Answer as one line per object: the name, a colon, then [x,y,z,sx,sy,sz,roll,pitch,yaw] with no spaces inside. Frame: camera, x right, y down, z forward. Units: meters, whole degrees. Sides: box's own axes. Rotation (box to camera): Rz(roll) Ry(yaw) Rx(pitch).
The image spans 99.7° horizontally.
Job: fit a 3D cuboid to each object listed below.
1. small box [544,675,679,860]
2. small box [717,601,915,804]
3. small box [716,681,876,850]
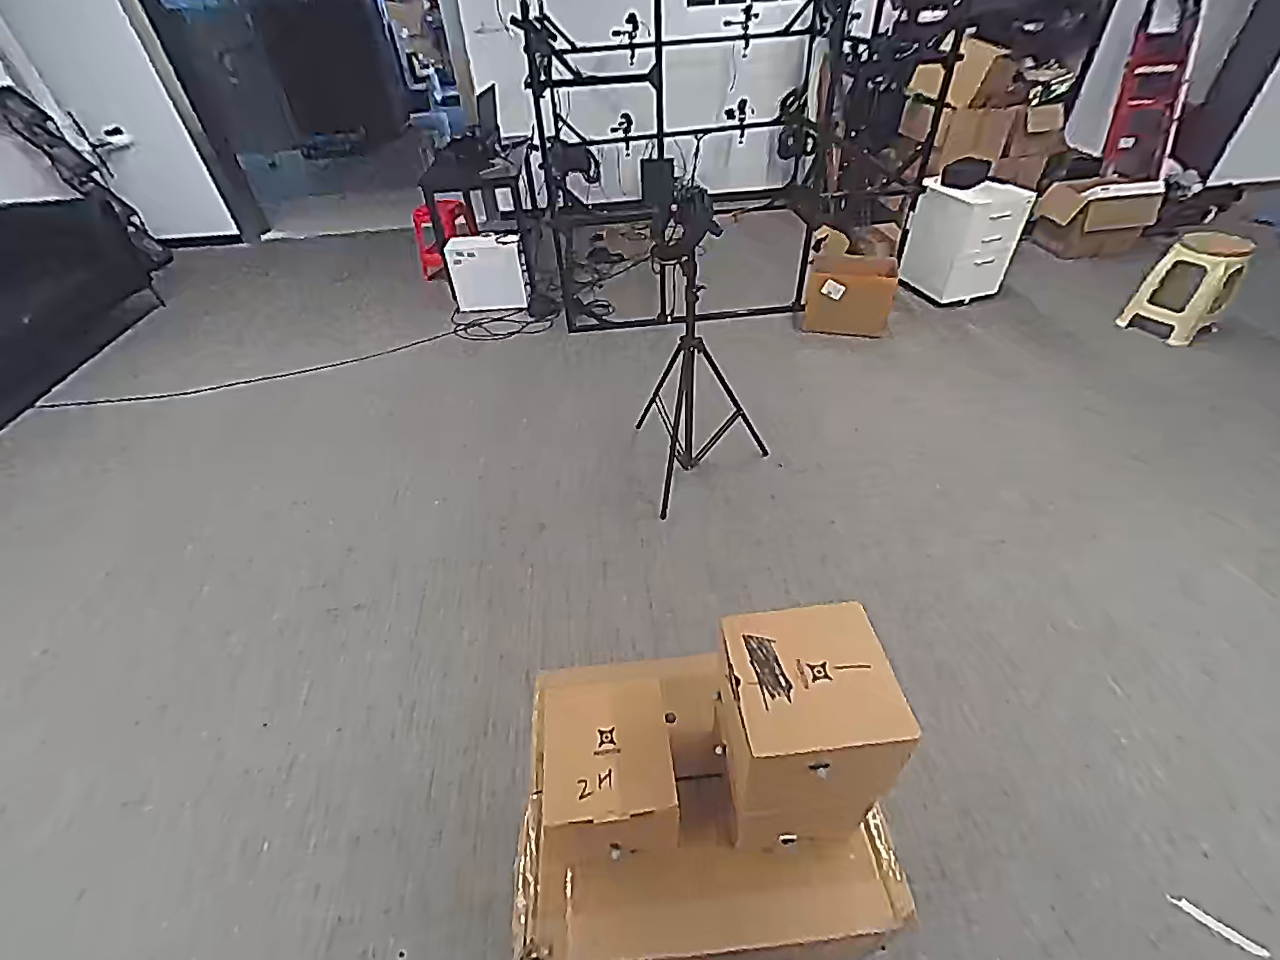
small box: [-0.040,0.406,0.767,0.168,0.176,0.179,-6,42,-3]
small box: [0.193,0.271,0.654,0.179,0.176,0.168,-6,42,-1]
small box: [0.203,0.393,0.765,0.168,0.176,0.179,-8,44,0]
